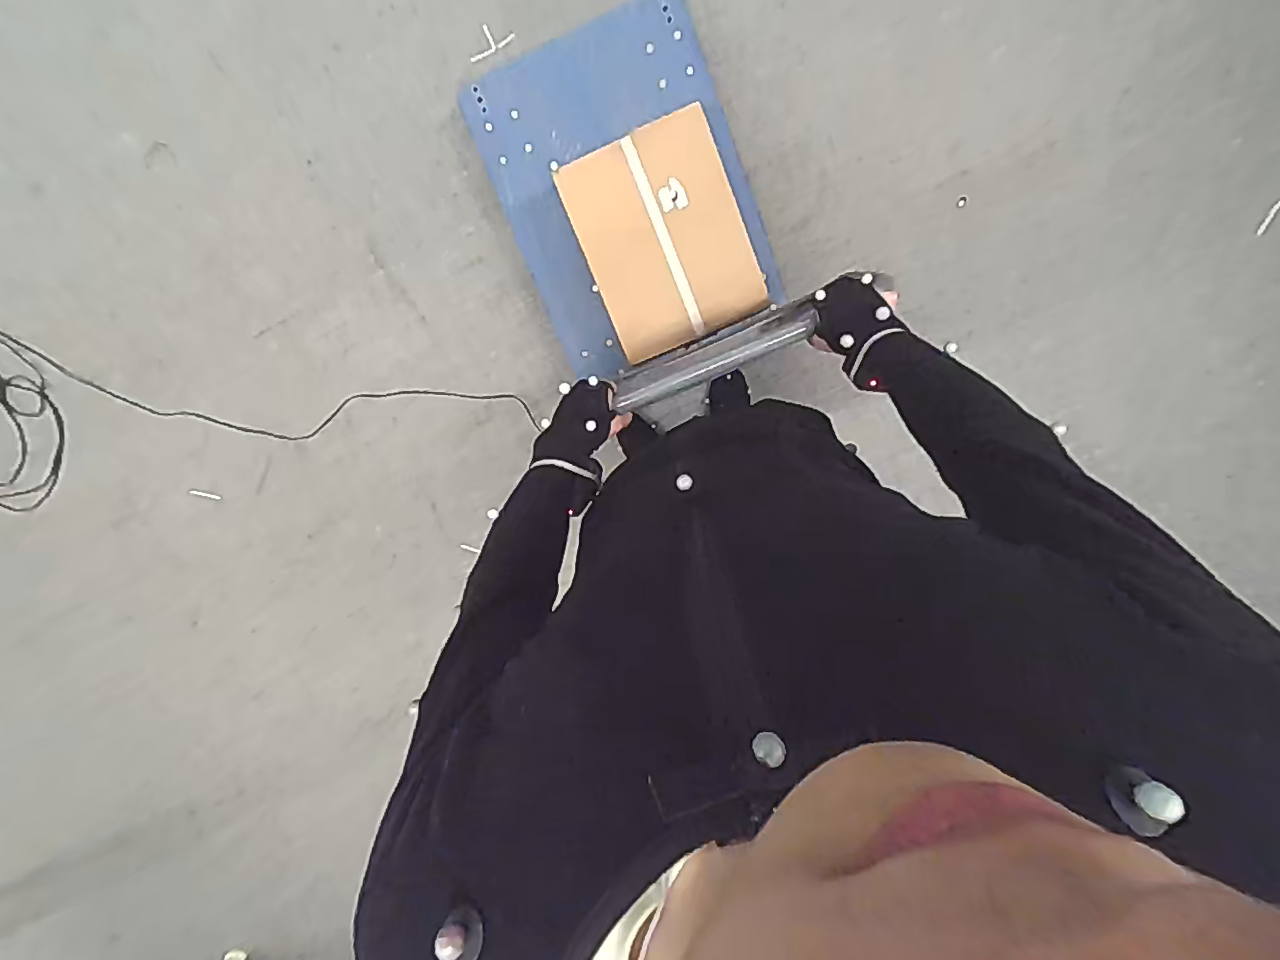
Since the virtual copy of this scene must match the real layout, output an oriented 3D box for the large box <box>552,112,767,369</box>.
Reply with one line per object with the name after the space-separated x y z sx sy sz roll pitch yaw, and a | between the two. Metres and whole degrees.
0.050 -0.500 1.228 0.320 0.320 0.408 -22 99 5 | large box
